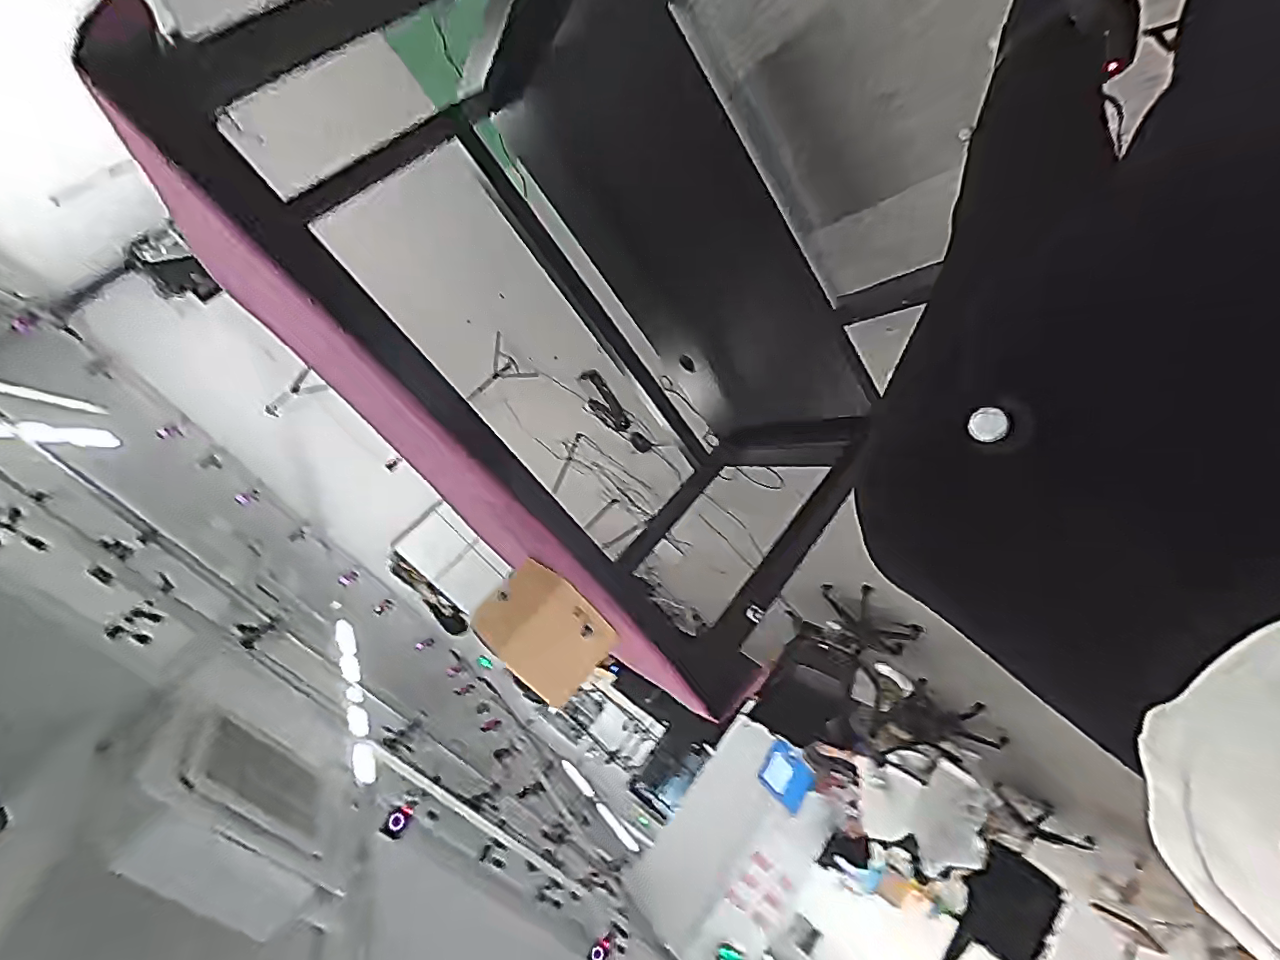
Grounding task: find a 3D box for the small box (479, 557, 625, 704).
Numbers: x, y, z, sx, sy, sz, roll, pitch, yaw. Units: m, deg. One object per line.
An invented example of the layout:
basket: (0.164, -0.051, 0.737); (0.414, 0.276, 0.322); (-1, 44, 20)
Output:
small box: (-0.159, 0.264, 0.991); (0.168, 0.176, 0.179); (51, 159, -25)
